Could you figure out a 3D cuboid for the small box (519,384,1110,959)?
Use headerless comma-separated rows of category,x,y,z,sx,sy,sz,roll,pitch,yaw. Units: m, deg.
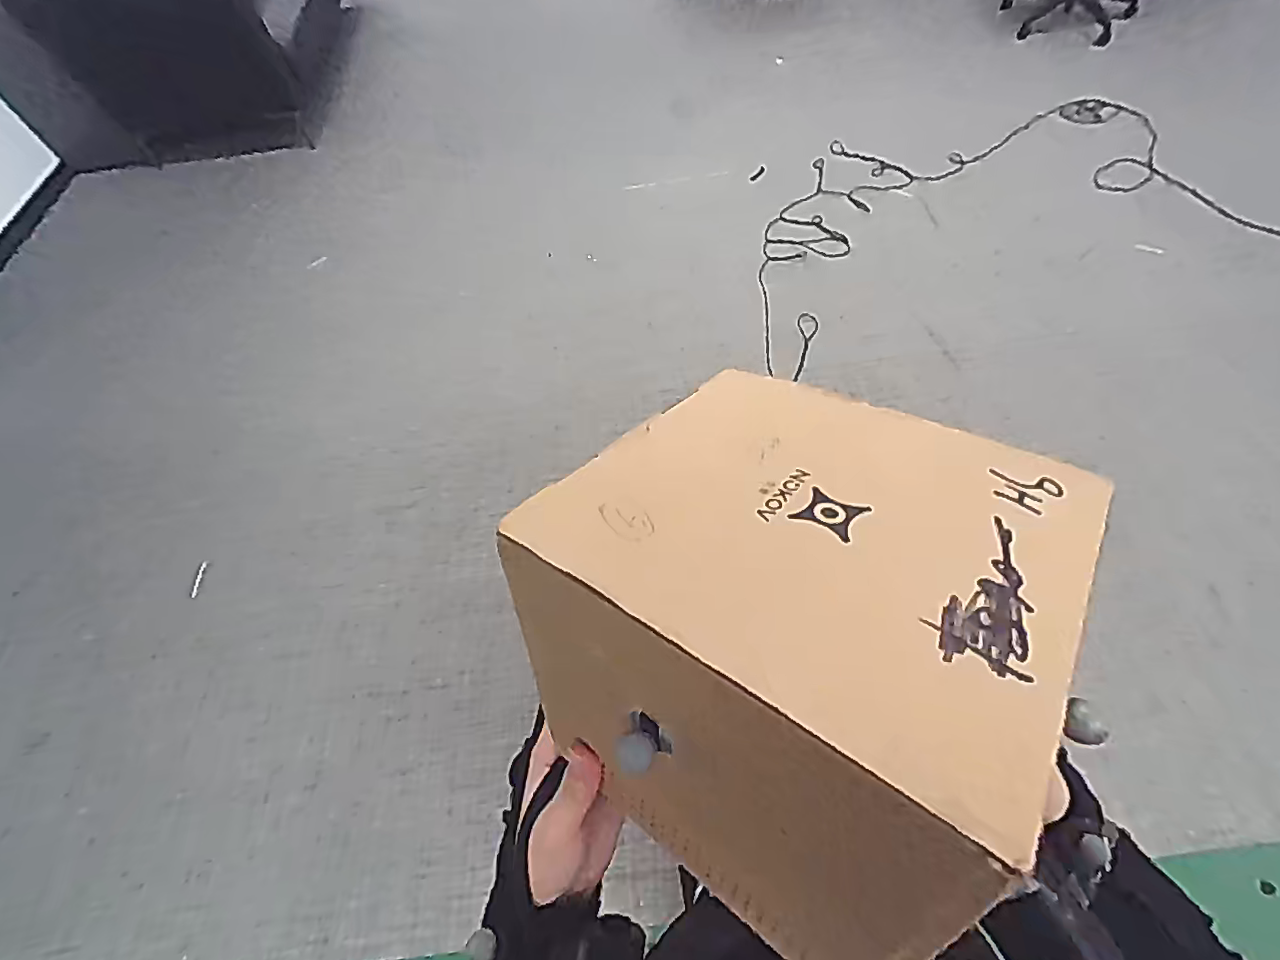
small box,0.073,0.079,0.258,0.179,0.176,0.168,24,46,32
